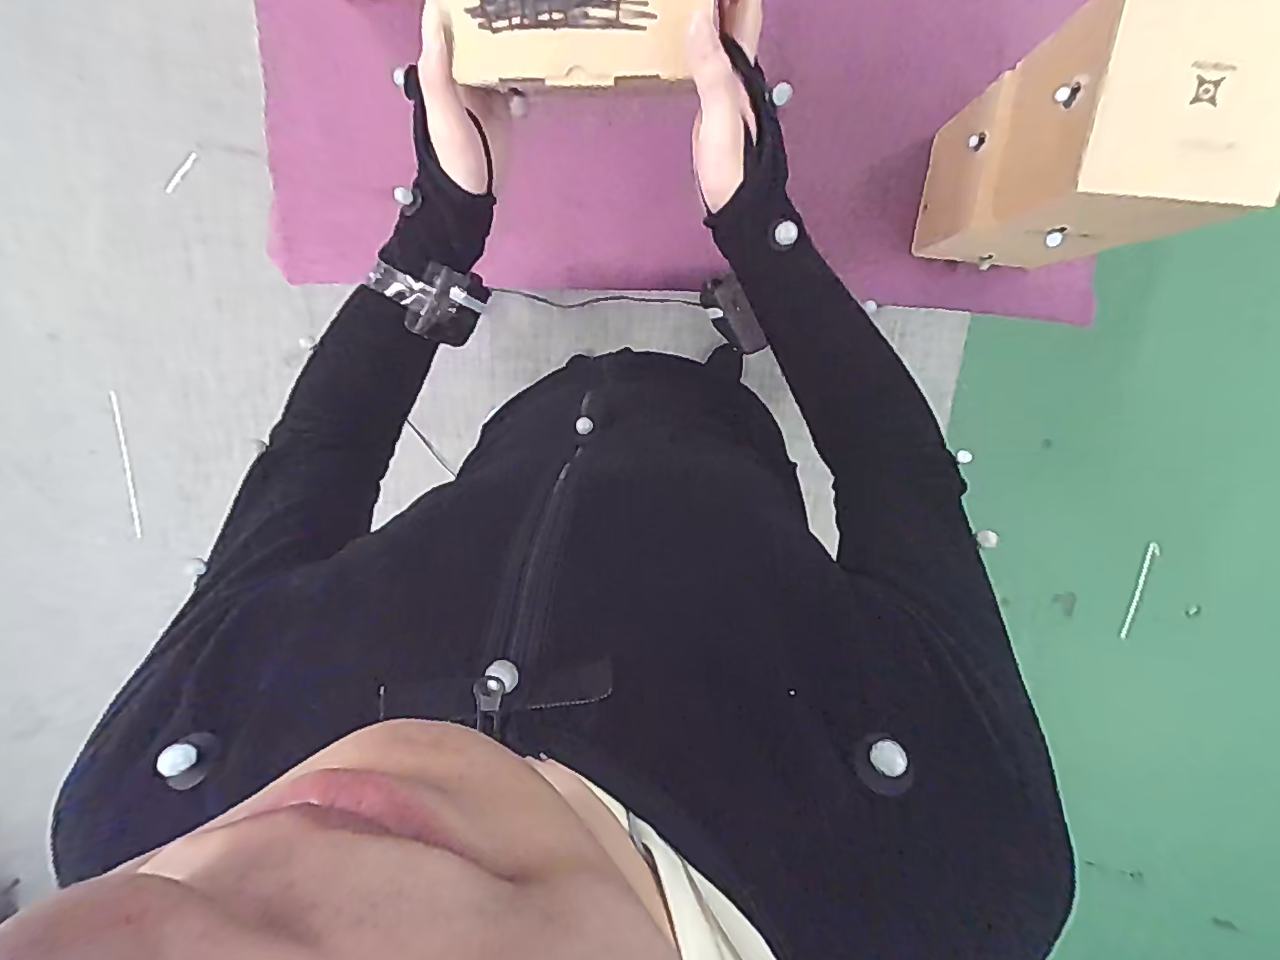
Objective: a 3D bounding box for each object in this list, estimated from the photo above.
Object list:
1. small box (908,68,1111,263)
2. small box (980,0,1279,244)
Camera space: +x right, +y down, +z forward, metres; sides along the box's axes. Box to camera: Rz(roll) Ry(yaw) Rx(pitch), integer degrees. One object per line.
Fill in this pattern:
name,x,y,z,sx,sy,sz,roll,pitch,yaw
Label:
small box,0.478,-0.381,0.689,0.179,0.176,0.168,7,103,1
small box,0.472,-0.348,0.529,0.168,0.176,0.179,7,104,3
